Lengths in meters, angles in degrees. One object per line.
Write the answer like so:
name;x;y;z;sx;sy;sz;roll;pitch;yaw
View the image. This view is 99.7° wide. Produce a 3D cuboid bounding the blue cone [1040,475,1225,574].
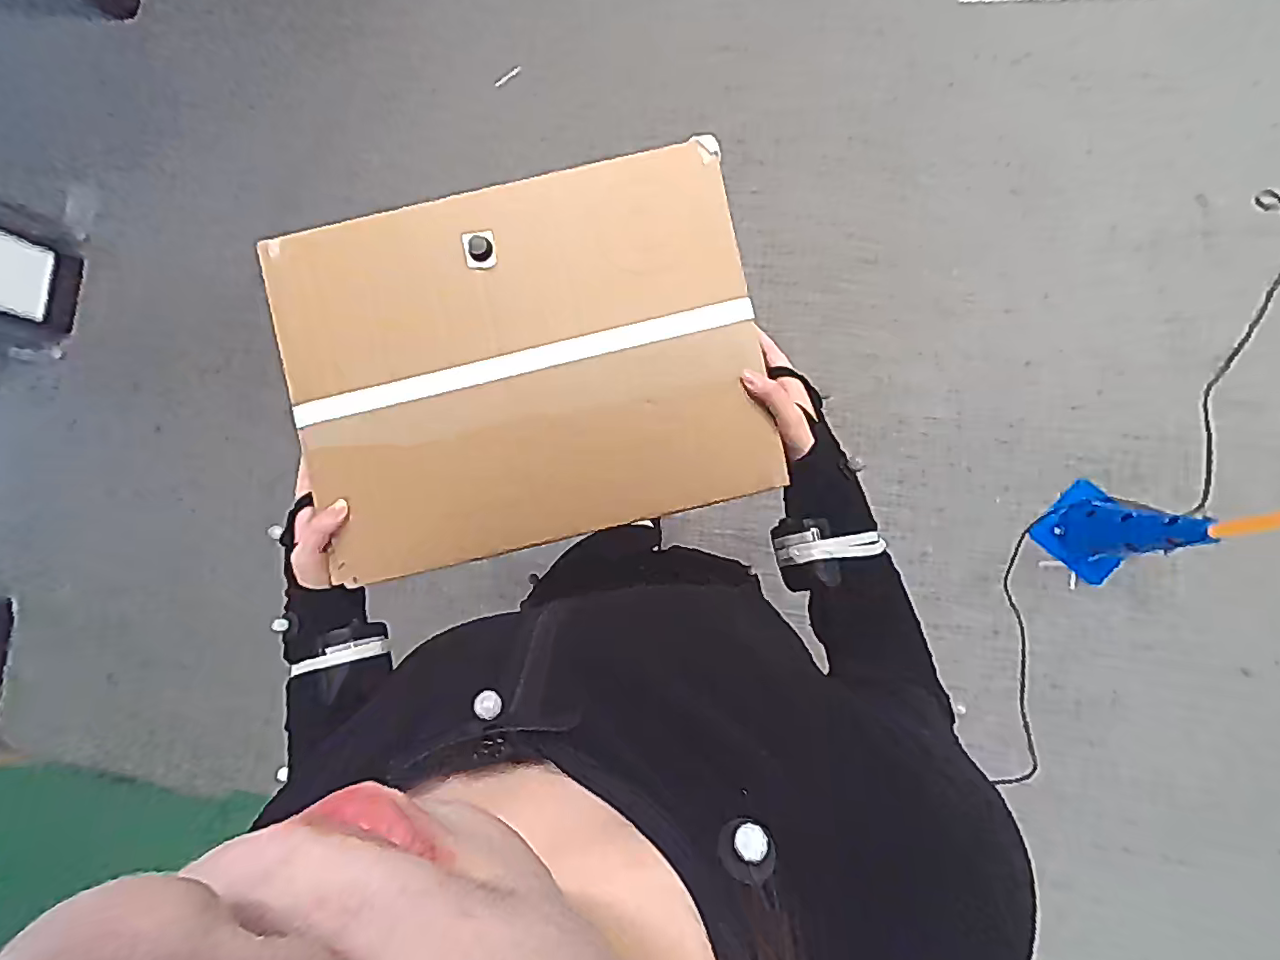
blue cone;1.075;0.097;1.153;0.192;0.380;0.193;40;93;11
